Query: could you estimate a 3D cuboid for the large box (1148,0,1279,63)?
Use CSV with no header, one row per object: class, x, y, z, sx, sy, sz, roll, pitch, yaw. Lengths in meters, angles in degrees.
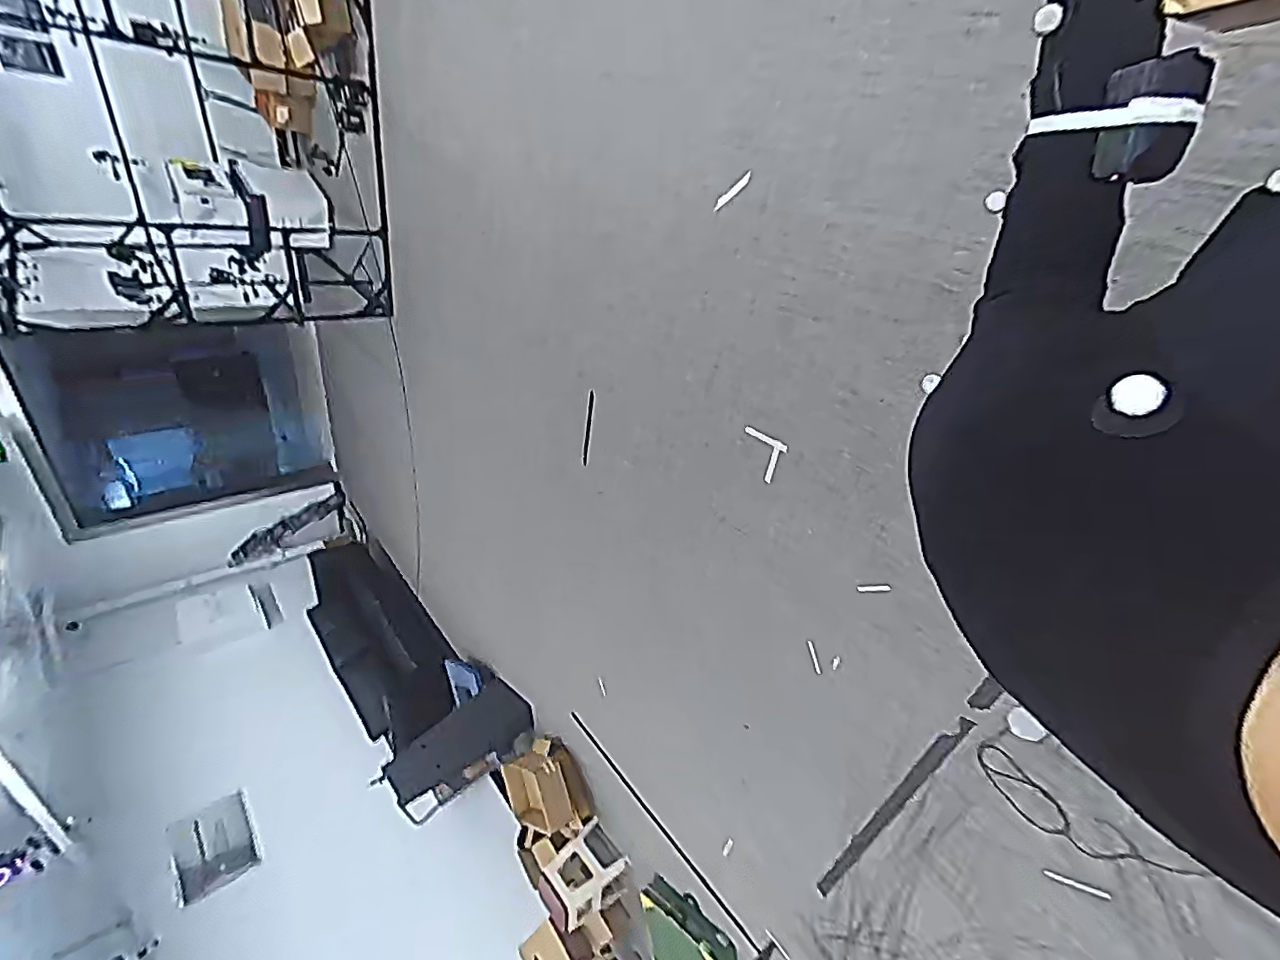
large box,0.533,-0.428,0.229,0.408,0.320,0.320,17,128,43
